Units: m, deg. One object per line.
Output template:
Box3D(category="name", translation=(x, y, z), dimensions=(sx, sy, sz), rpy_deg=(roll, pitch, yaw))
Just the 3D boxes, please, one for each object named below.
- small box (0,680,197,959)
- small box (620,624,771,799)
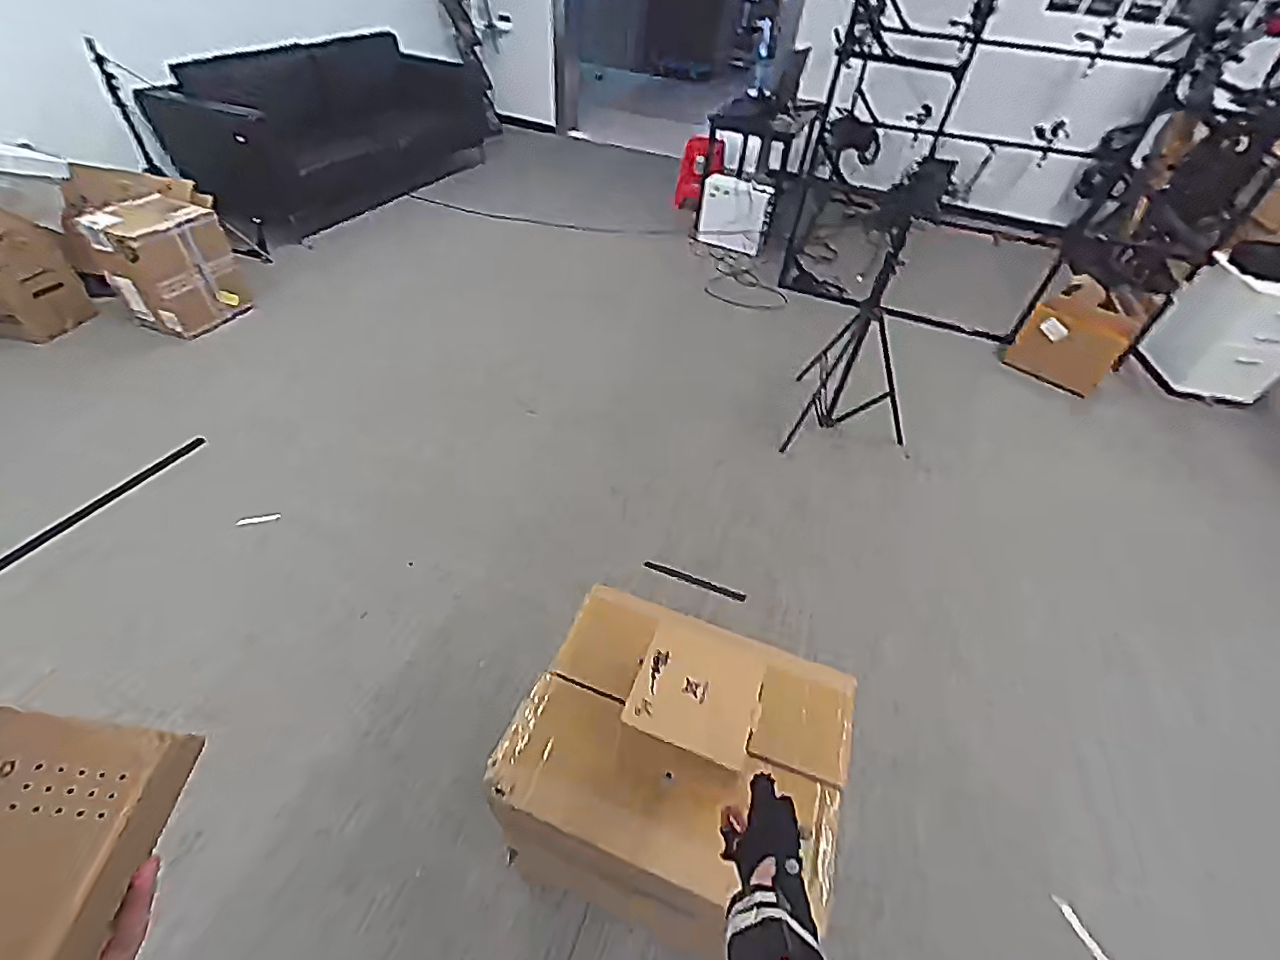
Box3D(category="small box", translation=(-0.319, 0.172, 0.219), dimensions=(0.168, 0.179, 0.176), rpy_deg=(22, 55, -24))
Box3D(category="small box", translation=(0.080, 0.357, 0.825), dimensions=(0.179, 0.176, 0.168), rpy_deg=(18, 47, 12))
